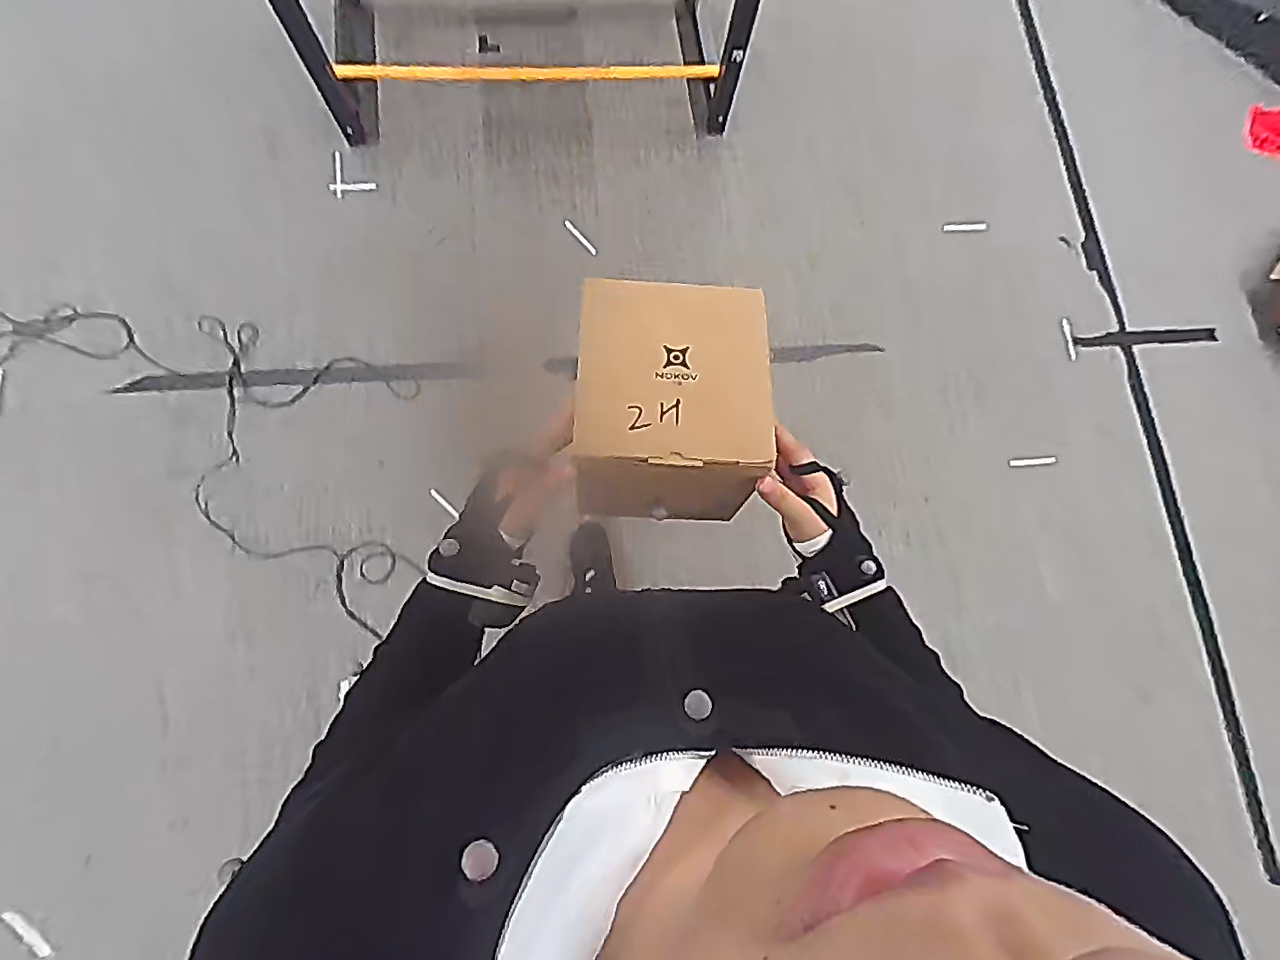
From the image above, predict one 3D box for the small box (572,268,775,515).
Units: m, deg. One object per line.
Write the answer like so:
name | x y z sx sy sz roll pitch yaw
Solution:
small box | 0.024 -0.076 0.530 0.168 0.176 0.179 3 70 -3
